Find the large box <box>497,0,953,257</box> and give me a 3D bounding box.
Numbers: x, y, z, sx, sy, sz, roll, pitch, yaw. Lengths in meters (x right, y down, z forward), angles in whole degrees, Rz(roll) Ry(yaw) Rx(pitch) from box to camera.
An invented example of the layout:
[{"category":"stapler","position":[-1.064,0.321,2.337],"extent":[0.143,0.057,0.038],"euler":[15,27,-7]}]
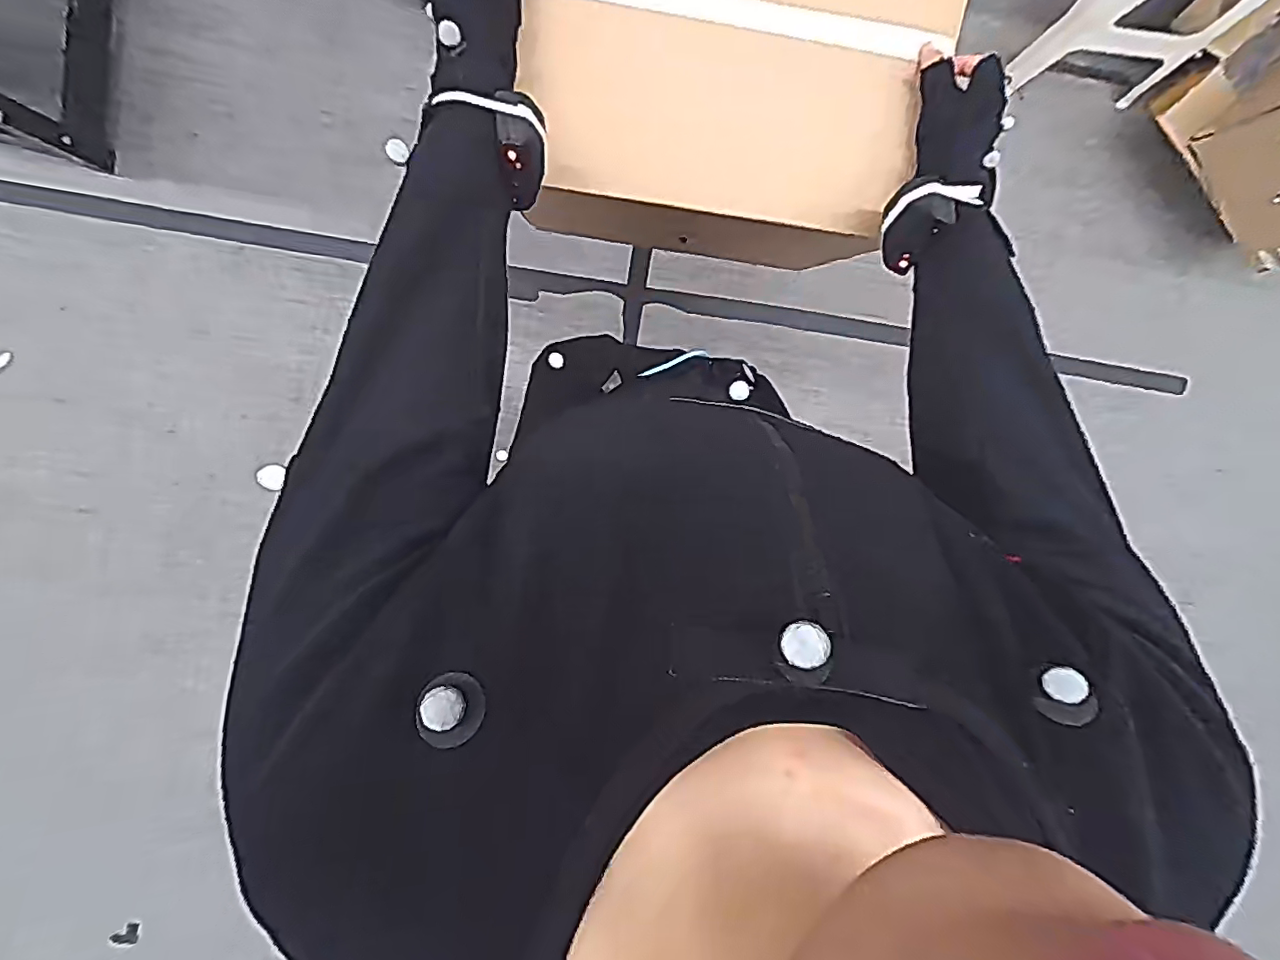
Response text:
[{"category":"large box","position":[0.073,-0.455,0.623],"extent":[0.408,0.320,0.320],"euler":[6,106,-5]}]
